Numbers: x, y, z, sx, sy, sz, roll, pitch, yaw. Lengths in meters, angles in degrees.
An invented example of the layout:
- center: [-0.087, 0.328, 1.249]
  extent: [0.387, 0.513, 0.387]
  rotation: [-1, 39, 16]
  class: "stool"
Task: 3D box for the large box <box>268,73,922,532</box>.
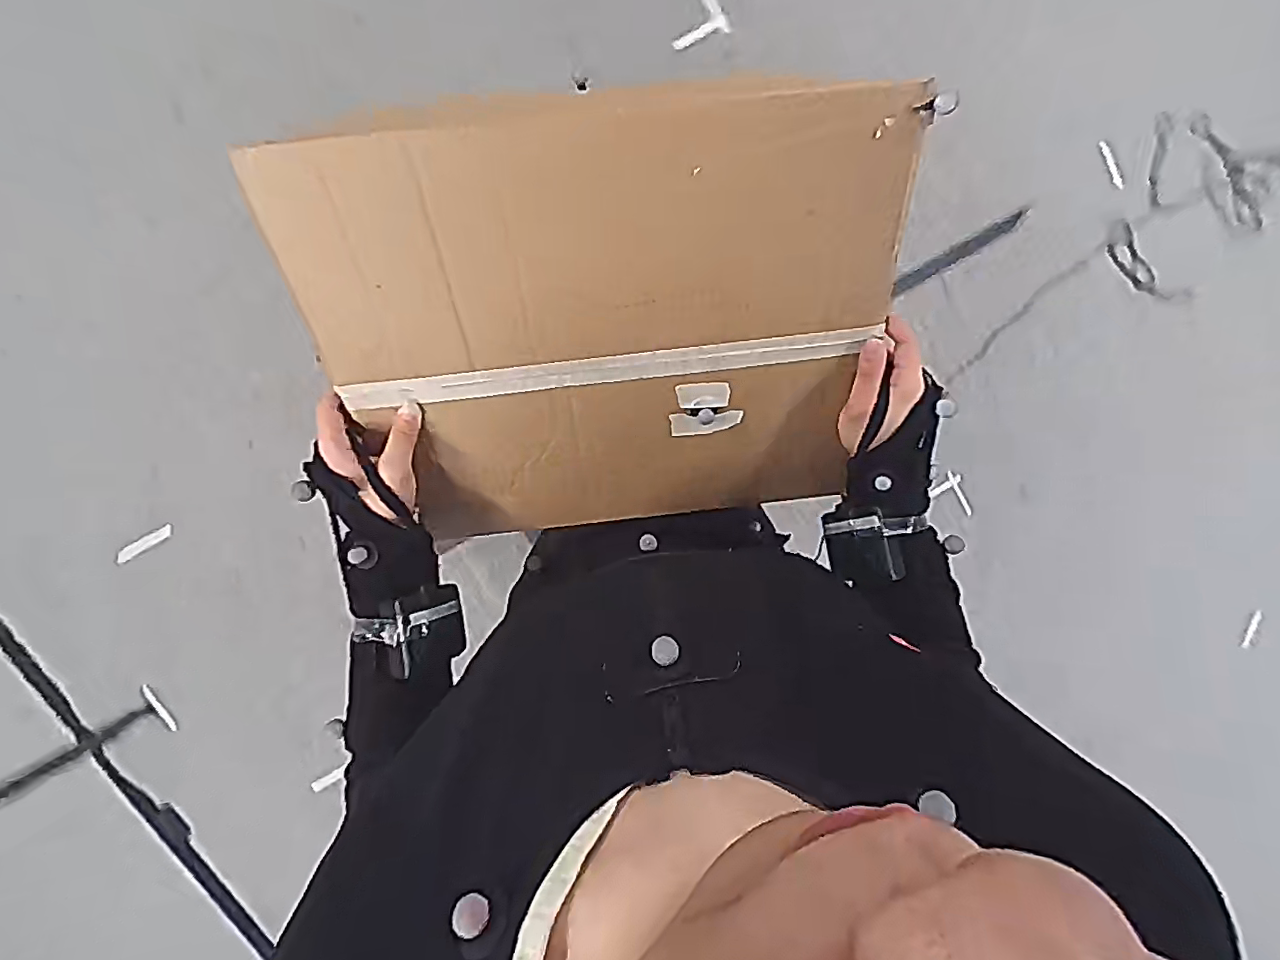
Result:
- center: [-0.029, -0.186, 0.529]
  extent: [0.408, 0.320, 0.320]
  rotation: [-7, 130, -2]
  class: "large box"
